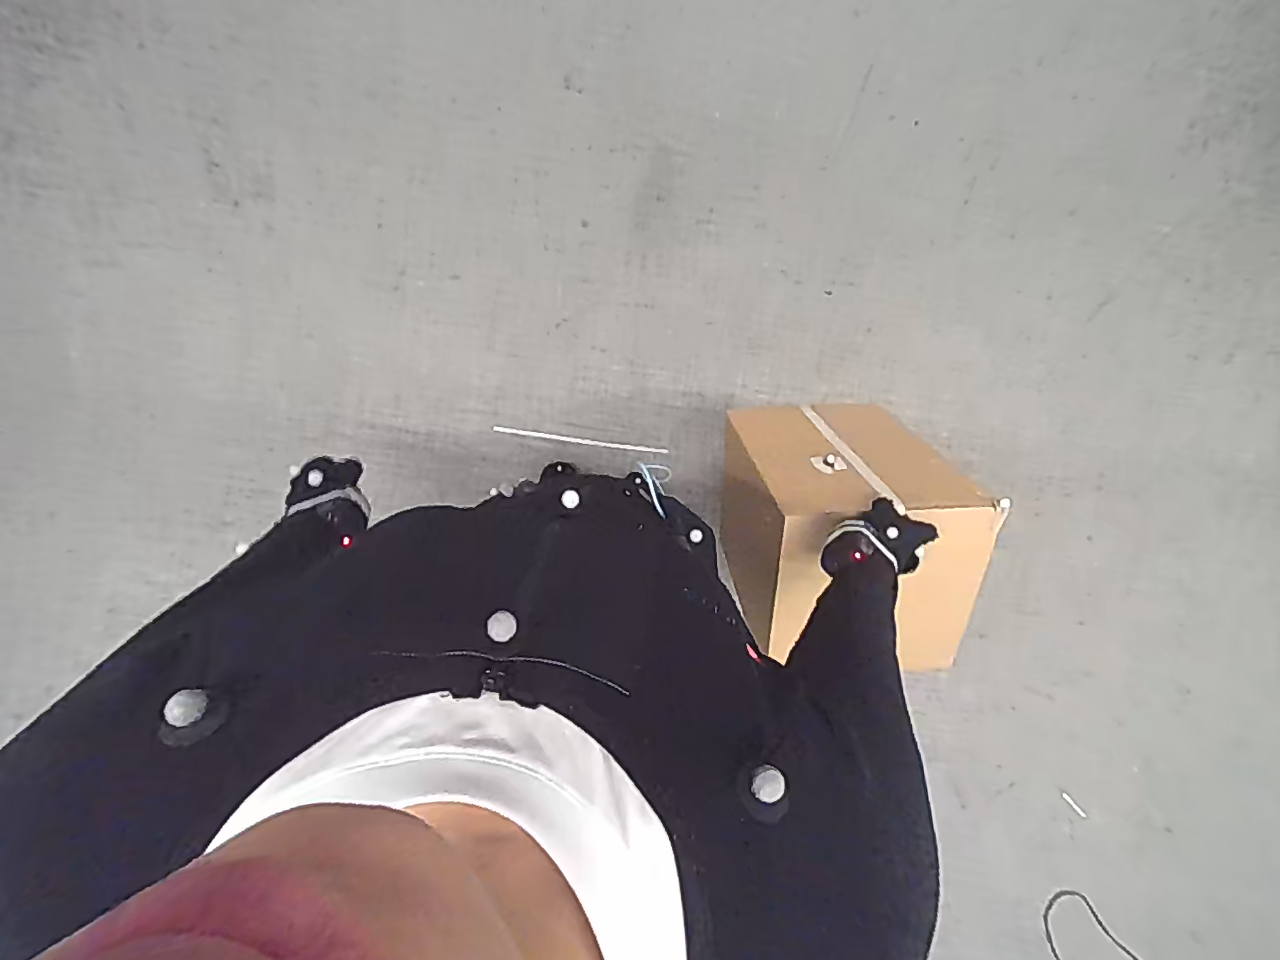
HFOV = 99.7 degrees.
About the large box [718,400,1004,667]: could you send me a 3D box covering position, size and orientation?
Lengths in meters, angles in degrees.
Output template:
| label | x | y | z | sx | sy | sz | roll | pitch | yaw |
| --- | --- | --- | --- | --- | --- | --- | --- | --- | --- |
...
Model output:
| label | x | y | z | sx | sy | sz | roll | pitch | yaw |
| --- | --- | --- | --- | --- | --- | --- | --- | --- | --- |
| large box | 0.340 | 0.072 | 0.984 | 0.320 | 0.408 | 0.320 | -3 | 120 | -3 |
